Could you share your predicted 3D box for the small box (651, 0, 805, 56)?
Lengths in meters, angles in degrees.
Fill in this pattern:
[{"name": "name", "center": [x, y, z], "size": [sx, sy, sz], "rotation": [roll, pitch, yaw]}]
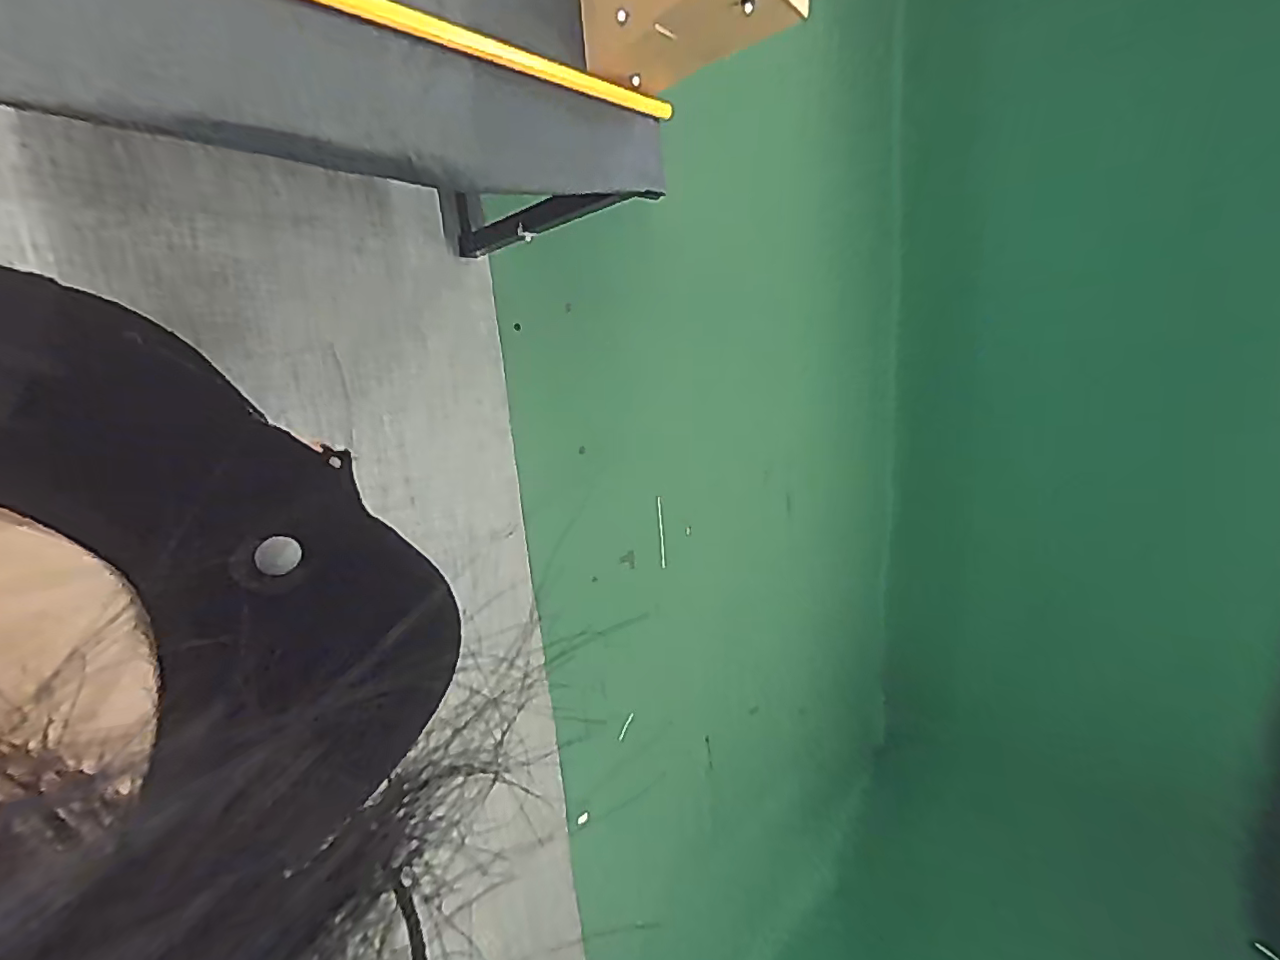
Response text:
[{"name": "small box", "center": [0.129, -0.781, 0.804], "size": [0.179, 0.176, 0.168], "rotation": [-12, 105, -44]}]
